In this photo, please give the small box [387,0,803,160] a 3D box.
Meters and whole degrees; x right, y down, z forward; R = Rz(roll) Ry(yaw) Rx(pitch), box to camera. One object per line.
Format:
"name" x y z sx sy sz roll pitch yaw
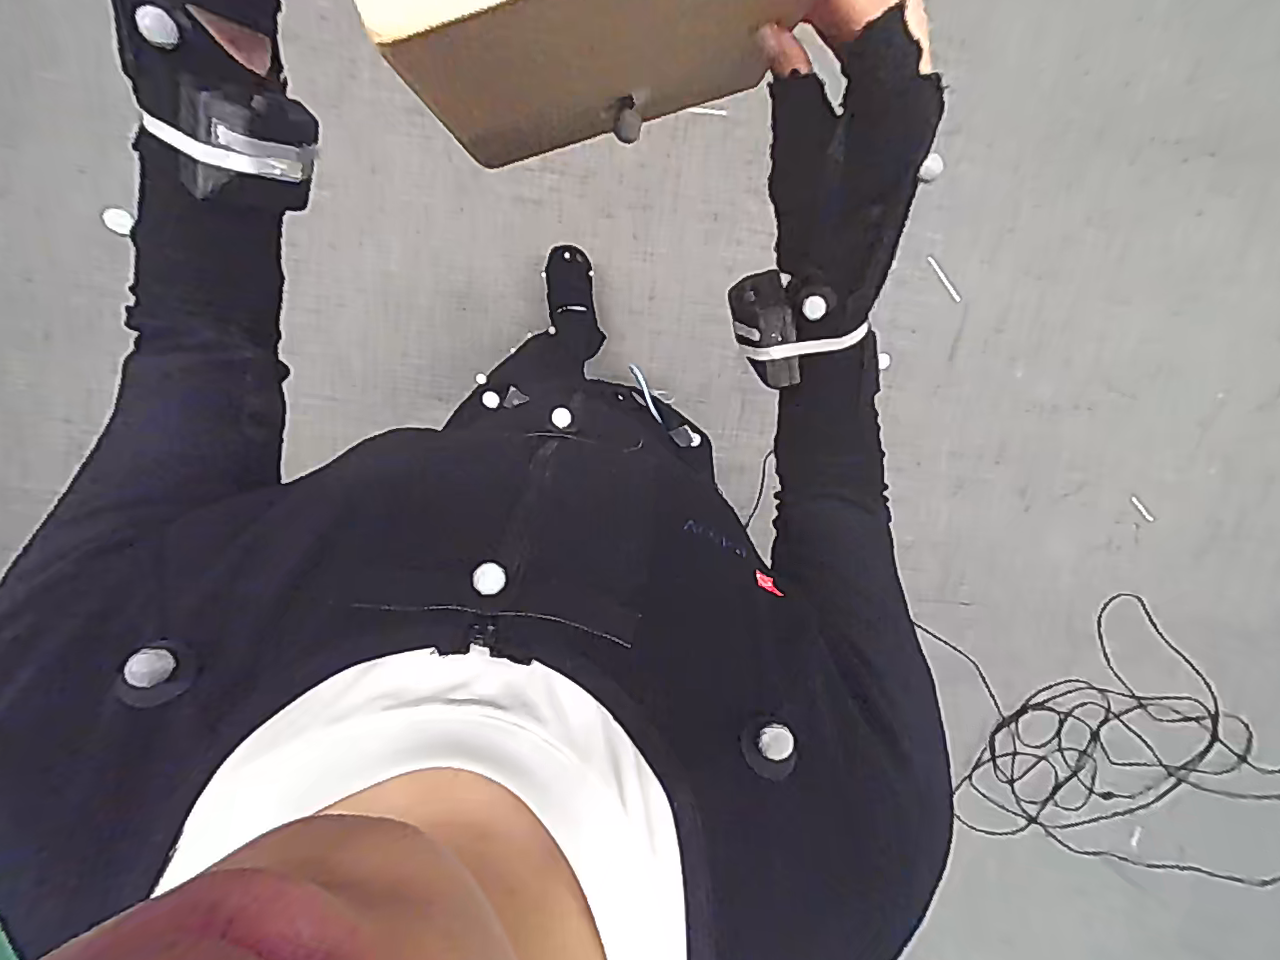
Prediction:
"small box" -0.027 -0.270 0.235 0.179 0.176 0.168 -17 107 2
